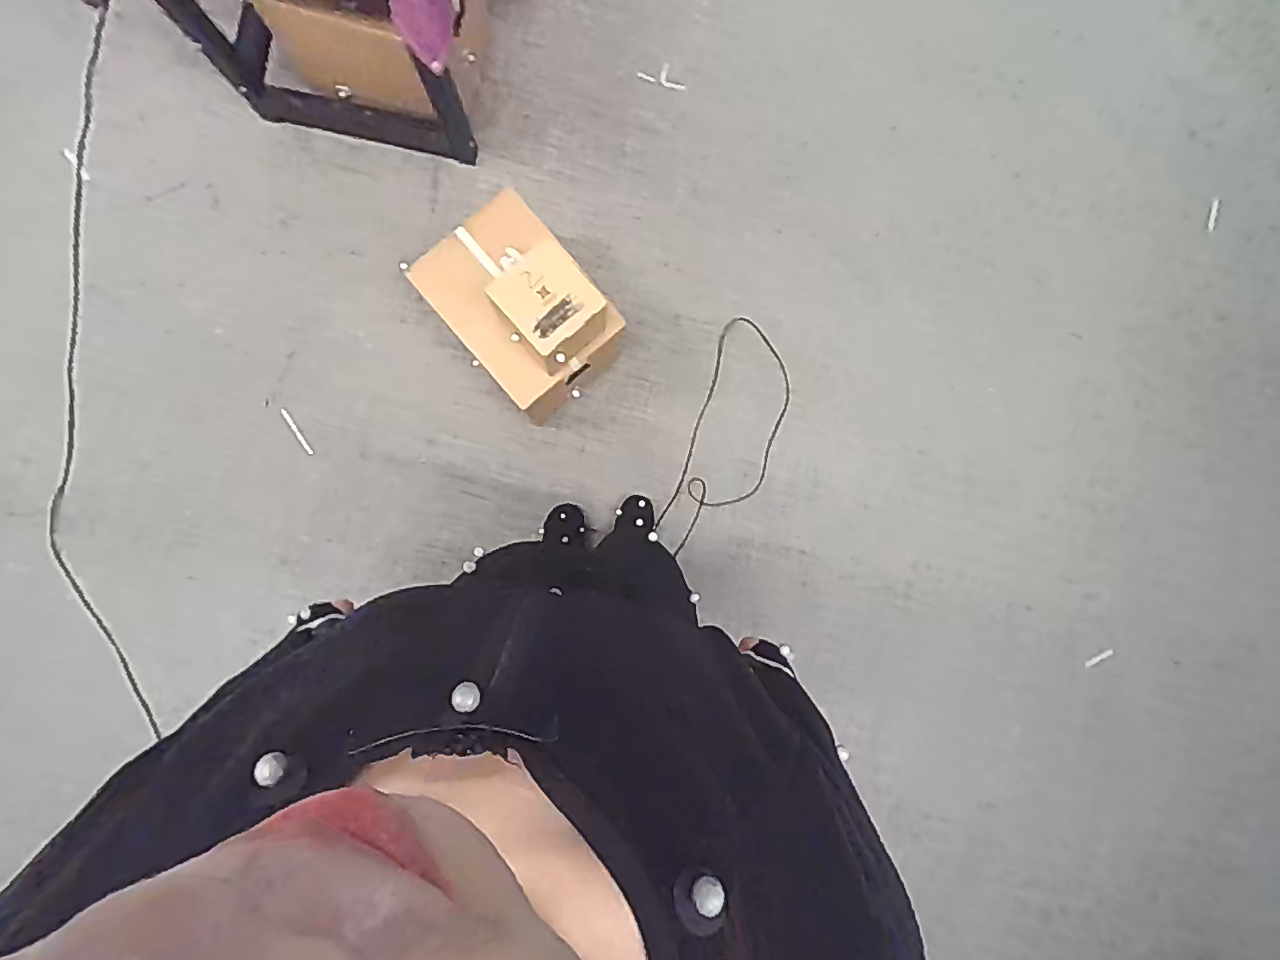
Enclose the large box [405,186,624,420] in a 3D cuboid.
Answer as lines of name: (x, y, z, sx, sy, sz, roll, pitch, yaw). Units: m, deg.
large box: (-0.284, -0.408, 1.351, 0.320, 0.320, 0.408, -41, 92, -4)
